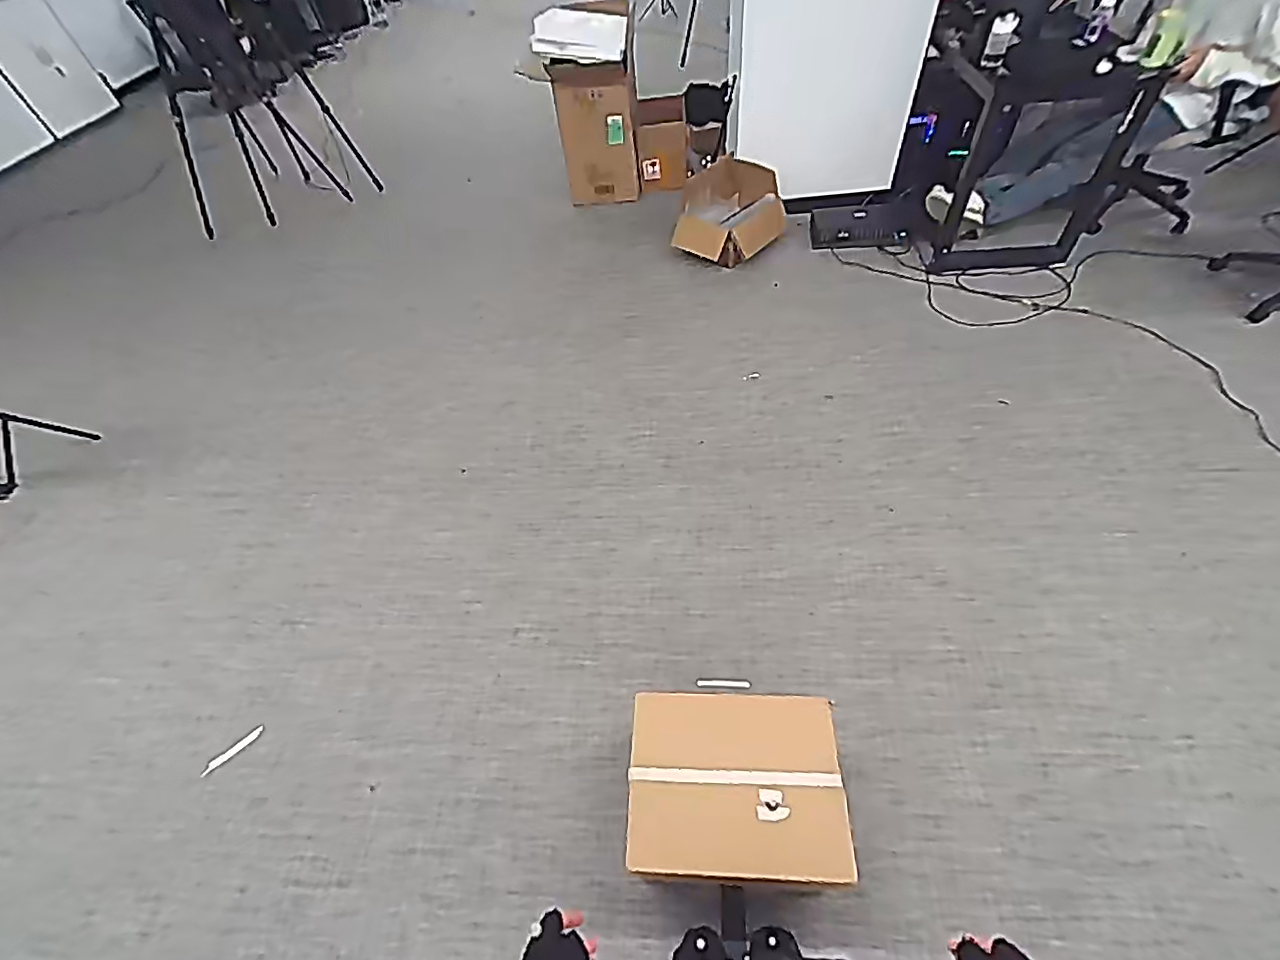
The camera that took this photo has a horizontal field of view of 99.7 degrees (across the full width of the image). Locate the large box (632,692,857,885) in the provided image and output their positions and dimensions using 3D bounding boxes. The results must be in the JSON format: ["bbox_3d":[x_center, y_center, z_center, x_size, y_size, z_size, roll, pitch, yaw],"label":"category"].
[{"bbox_3d":[0.195,0.662,1.157,0.408,0.320,0.320,-1,52,5],"label":"large box"}]
